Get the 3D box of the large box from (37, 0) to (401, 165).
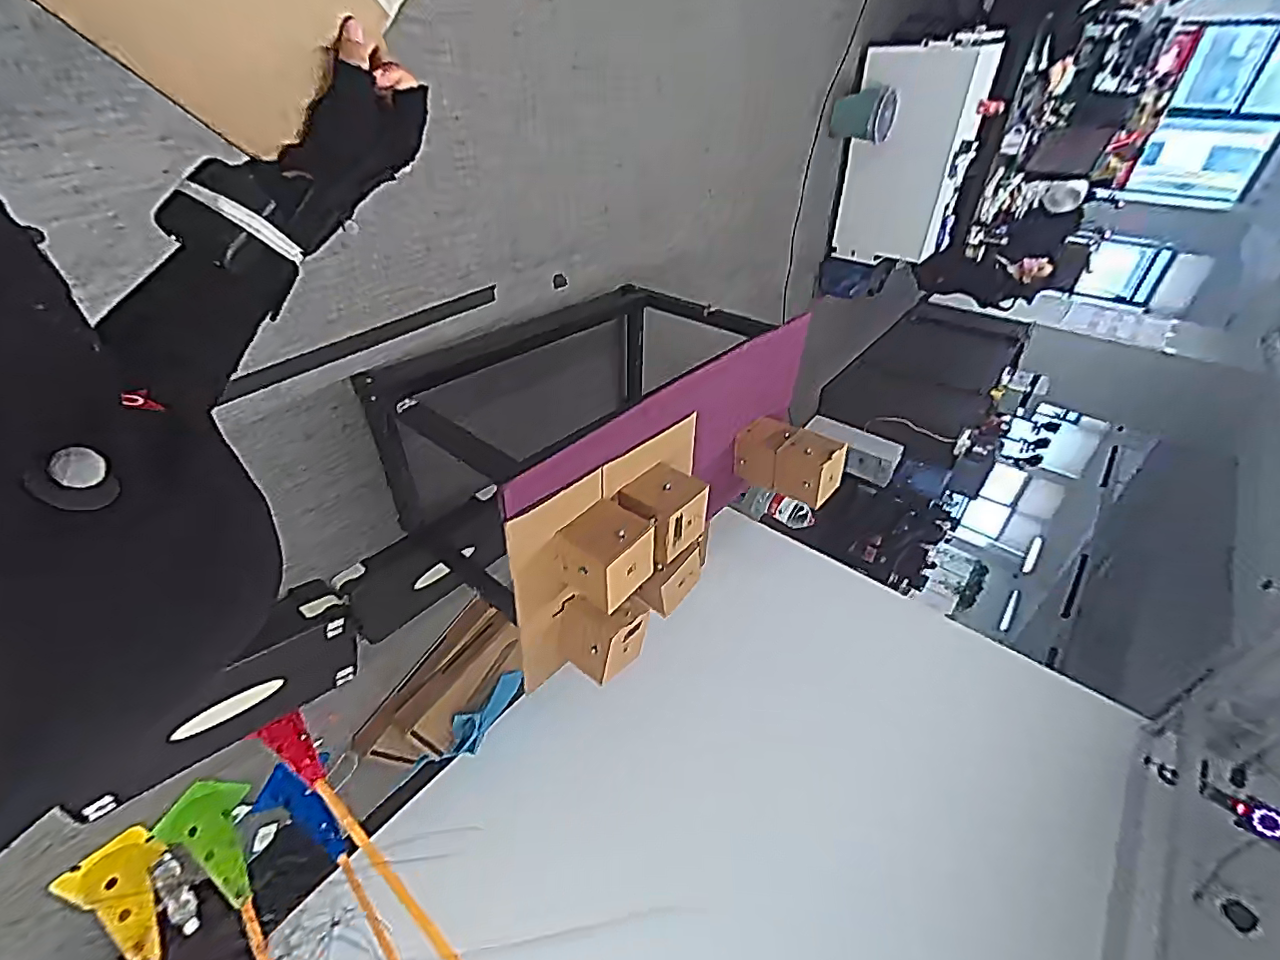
[{"bbox_3d":[-0.372,-0.500,0.319,0.320,0.320,0.408,-49,150,6],"label":"large box"}]
